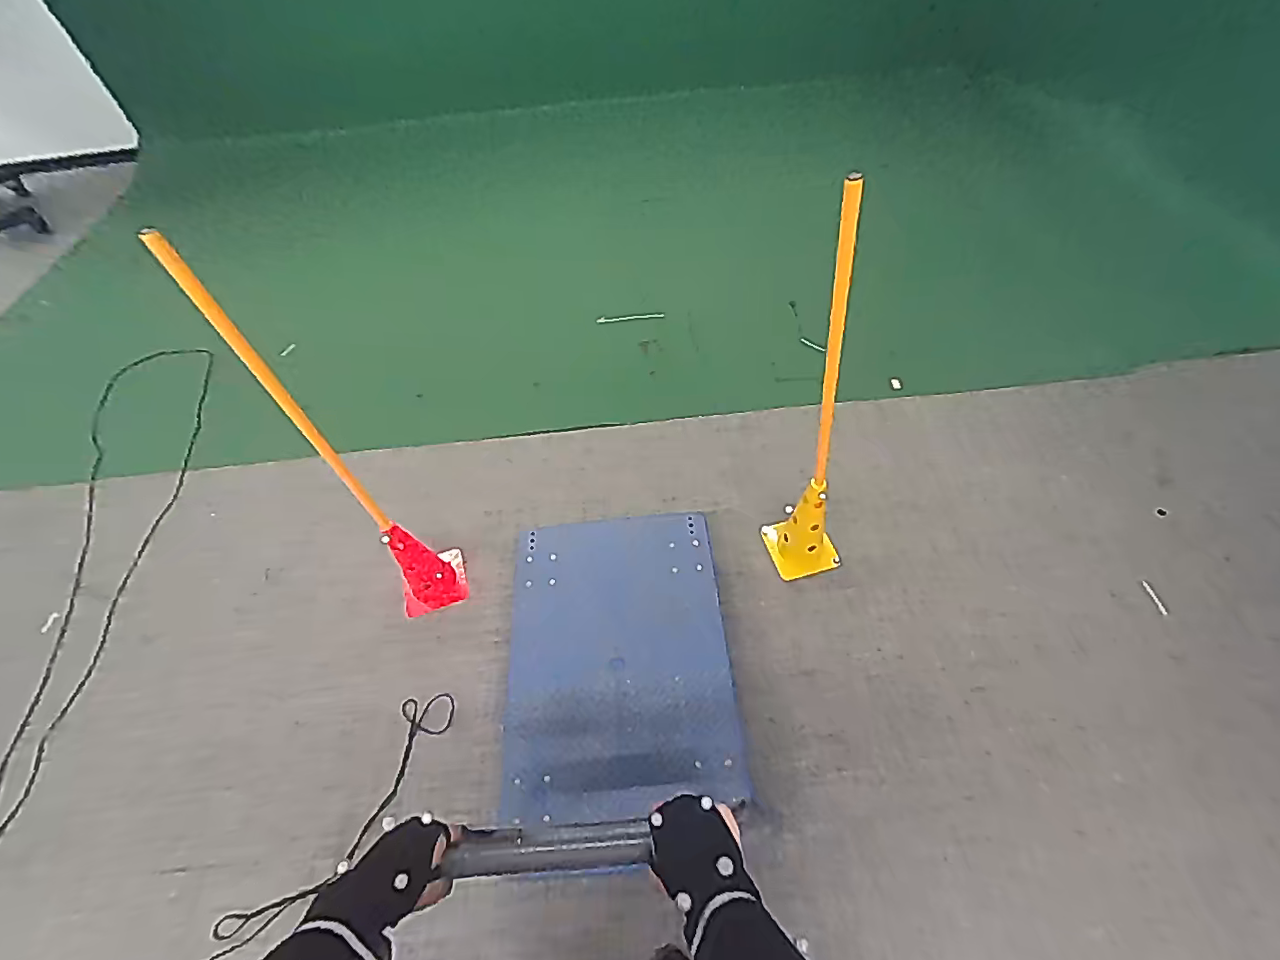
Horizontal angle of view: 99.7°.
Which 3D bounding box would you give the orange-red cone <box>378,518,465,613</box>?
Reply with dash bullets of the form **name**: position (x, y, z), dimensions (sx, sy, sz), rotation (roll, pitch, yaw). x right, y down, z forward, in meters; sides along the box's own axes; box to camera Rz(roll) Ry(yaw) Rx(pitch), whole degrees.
- **orange-red cone**: position (-0.685, 0.222, 1.612), dimensions (0.199, 0.360, 0.198), rotation (-18, 54, -6)
